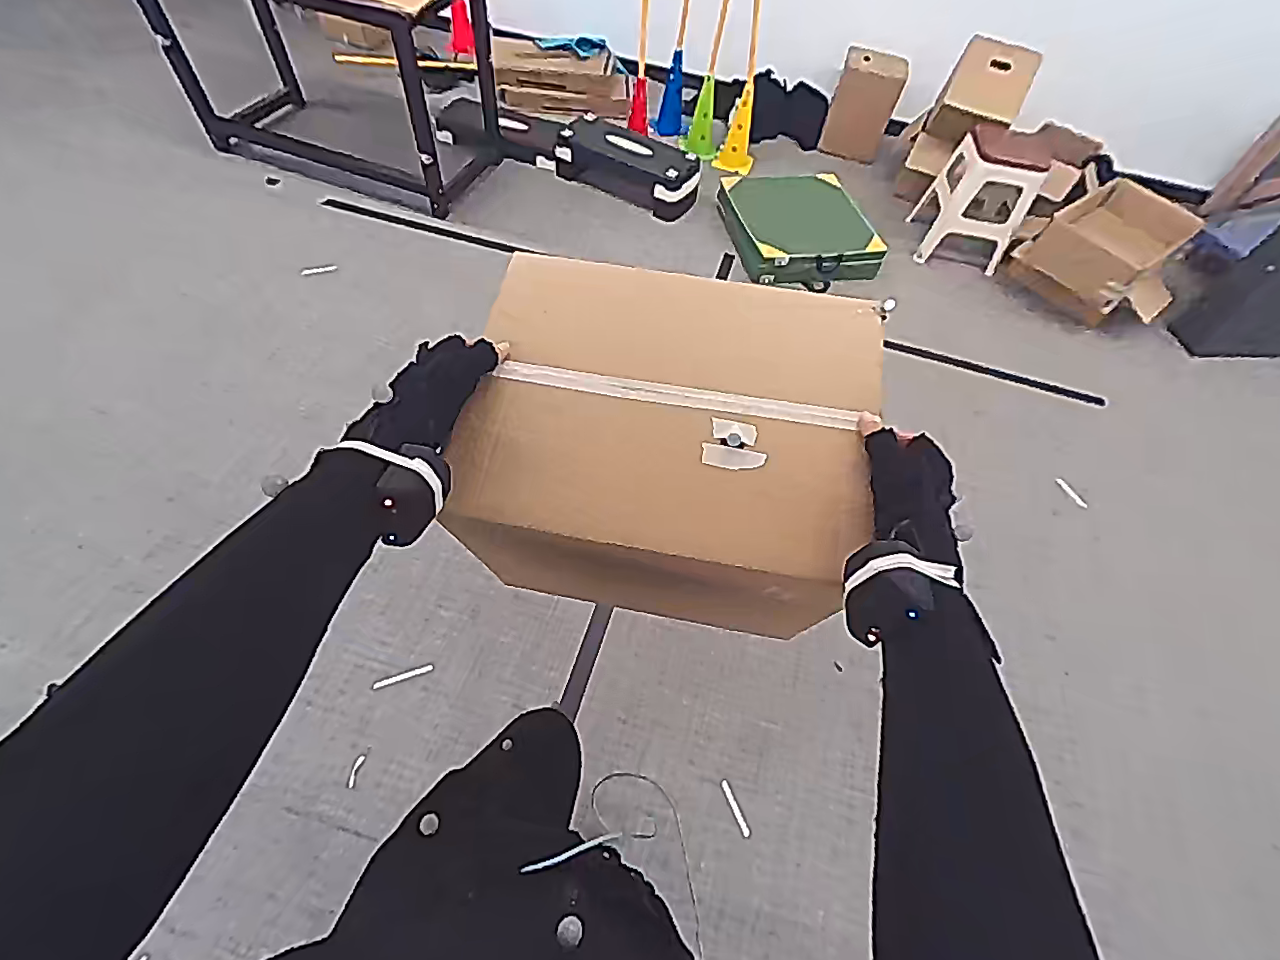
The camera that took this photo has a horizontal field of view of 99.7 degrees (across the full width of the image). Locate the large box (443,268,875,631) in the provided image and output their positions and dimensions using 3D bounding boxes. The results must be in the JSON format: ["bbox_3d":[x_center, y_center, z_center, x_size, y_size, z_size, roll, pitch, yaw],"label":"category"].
[{"bbox_3d":[0.034,-0.018,0.682,0.408,0.320,0.320,10,67,5],"label":"large box"}]
